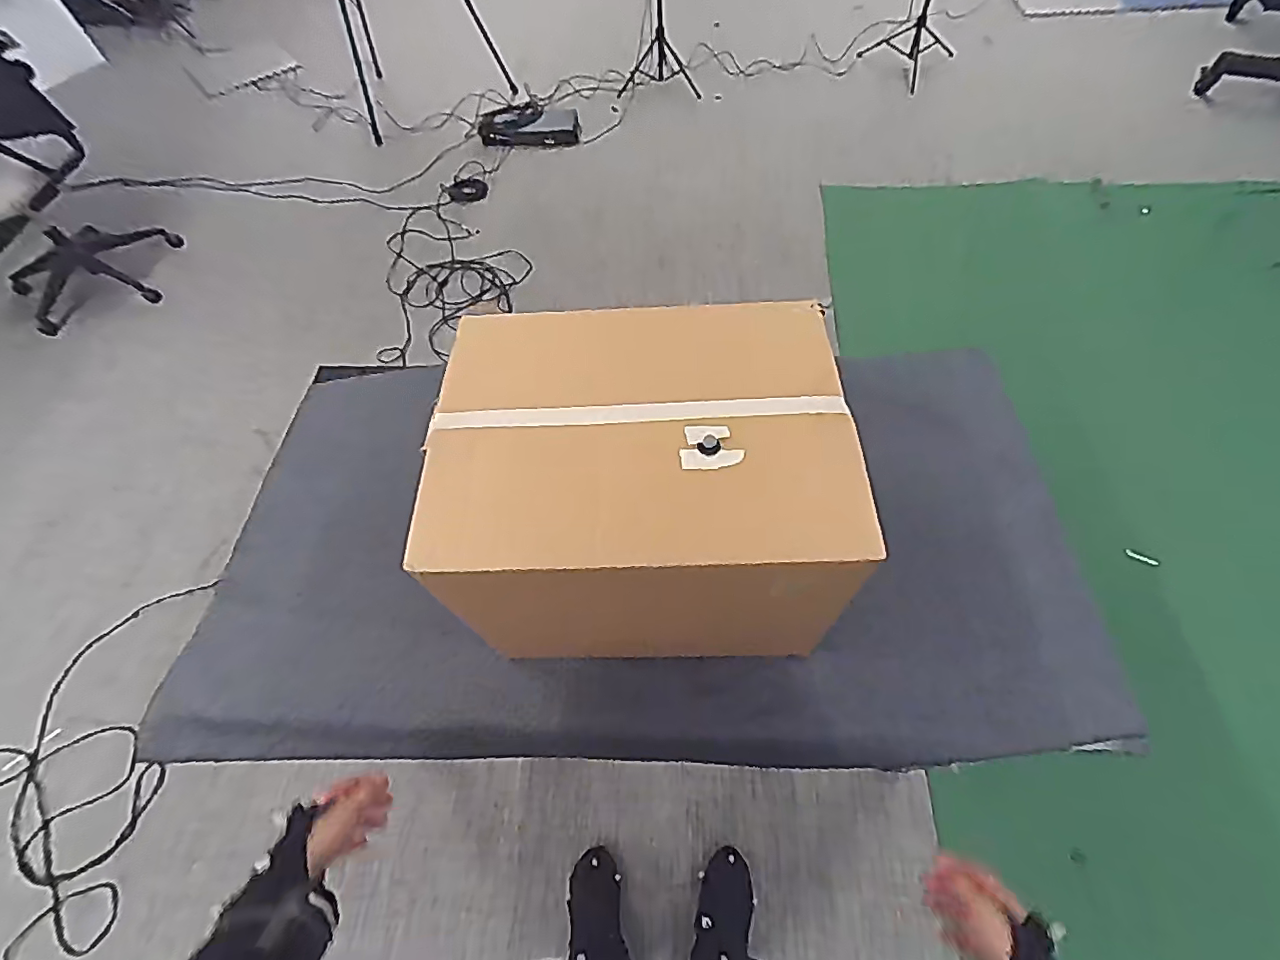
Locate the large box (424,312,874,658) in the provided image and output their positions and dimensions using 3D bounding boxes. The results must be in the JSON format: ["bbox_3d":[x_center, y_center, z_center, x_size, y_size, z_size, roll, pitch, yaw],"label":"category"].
[{"bbox_3d":[0.008,0.023,0.672,0.408,0.320,0.320,-2,59,2],"label":"large box"}]
